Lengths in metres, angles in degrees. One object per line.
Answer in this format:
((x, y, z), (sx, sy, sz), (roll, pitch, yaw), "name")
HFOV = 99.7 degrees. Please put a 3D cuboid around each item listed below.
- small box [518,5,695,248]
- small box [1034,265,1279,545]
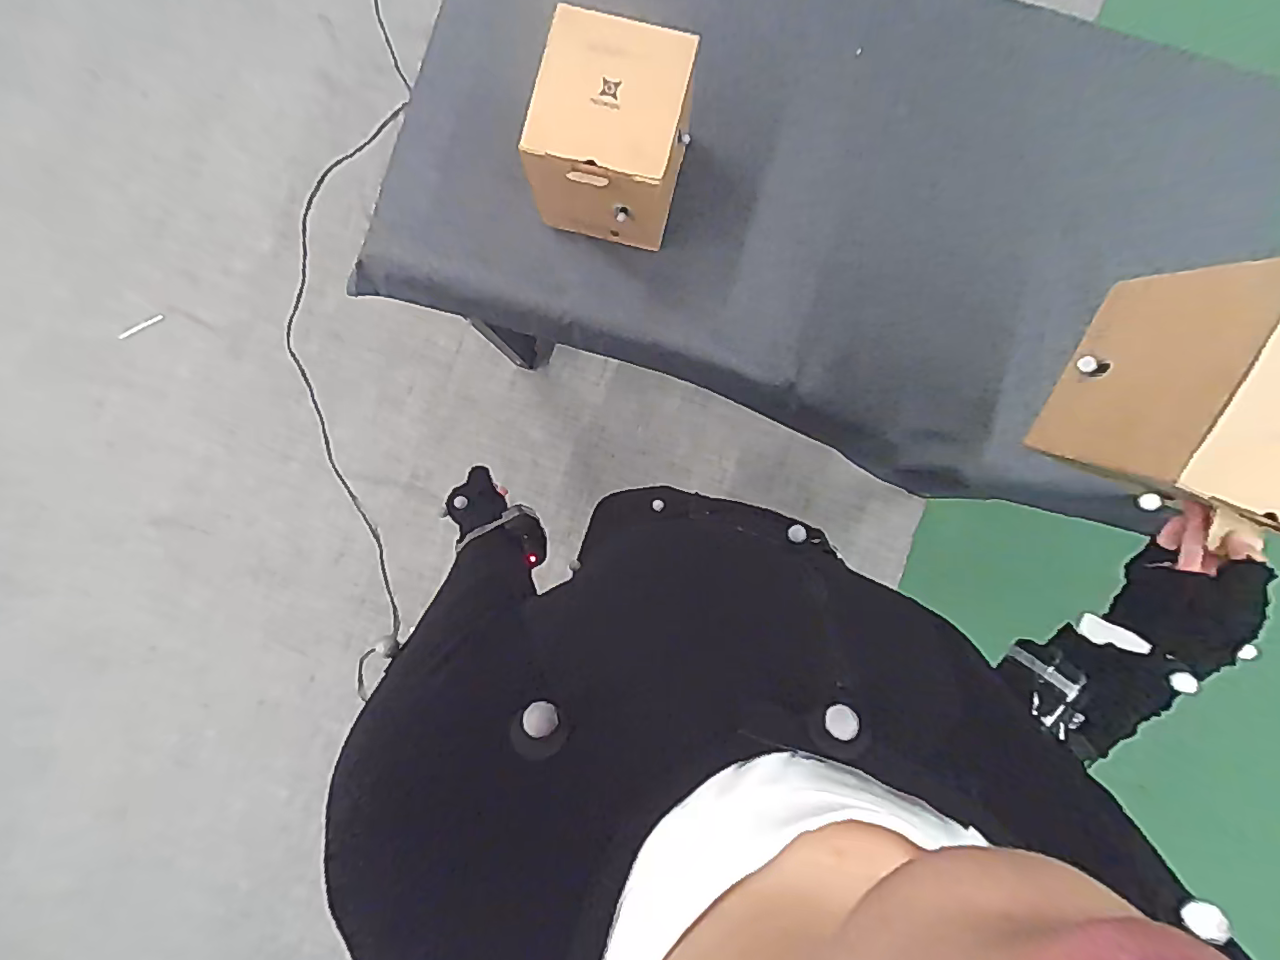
((-0.036, -0.422, 0.677), (0.168, 0.176, 0.179), (14, 86, 0), "small box")
((0.498, -0.063, 0.470), (0.168, 0.176, 0.179), (21, 104, -6), "small box")
